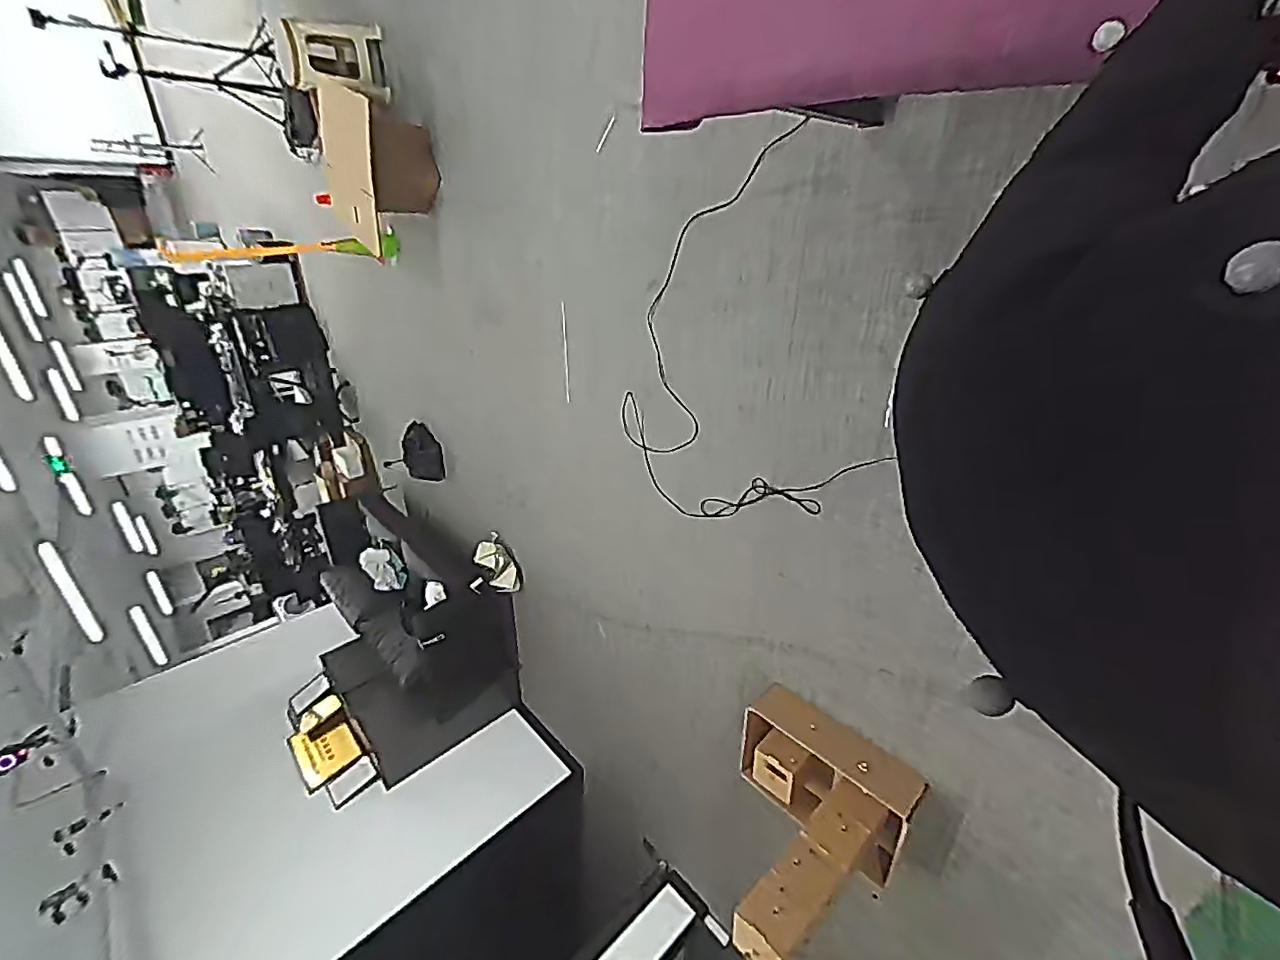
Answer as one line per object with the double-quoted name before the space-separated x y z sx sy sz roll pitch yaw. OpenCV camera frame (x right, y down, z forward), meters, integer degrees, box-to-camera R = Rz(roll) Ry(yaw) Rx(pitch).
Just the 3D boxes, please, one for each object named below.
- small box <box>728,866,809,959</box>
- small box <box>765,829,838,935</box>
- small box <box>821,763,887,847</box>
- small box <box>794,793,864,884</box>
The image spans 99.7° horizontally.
"small box" 0.384 1.313 1.611 0.168 0.176 0.179 25 125 43
"small box" 0.505 1.259 1.707 0.168 0.176 0.179 24 126 43
"small box" 0.742 1.149 1.903 0.168 0.176 0.179 26 127 40
"small box" 0.623 1.201 1.805 0.168 0.176 0.179 26 127 41
